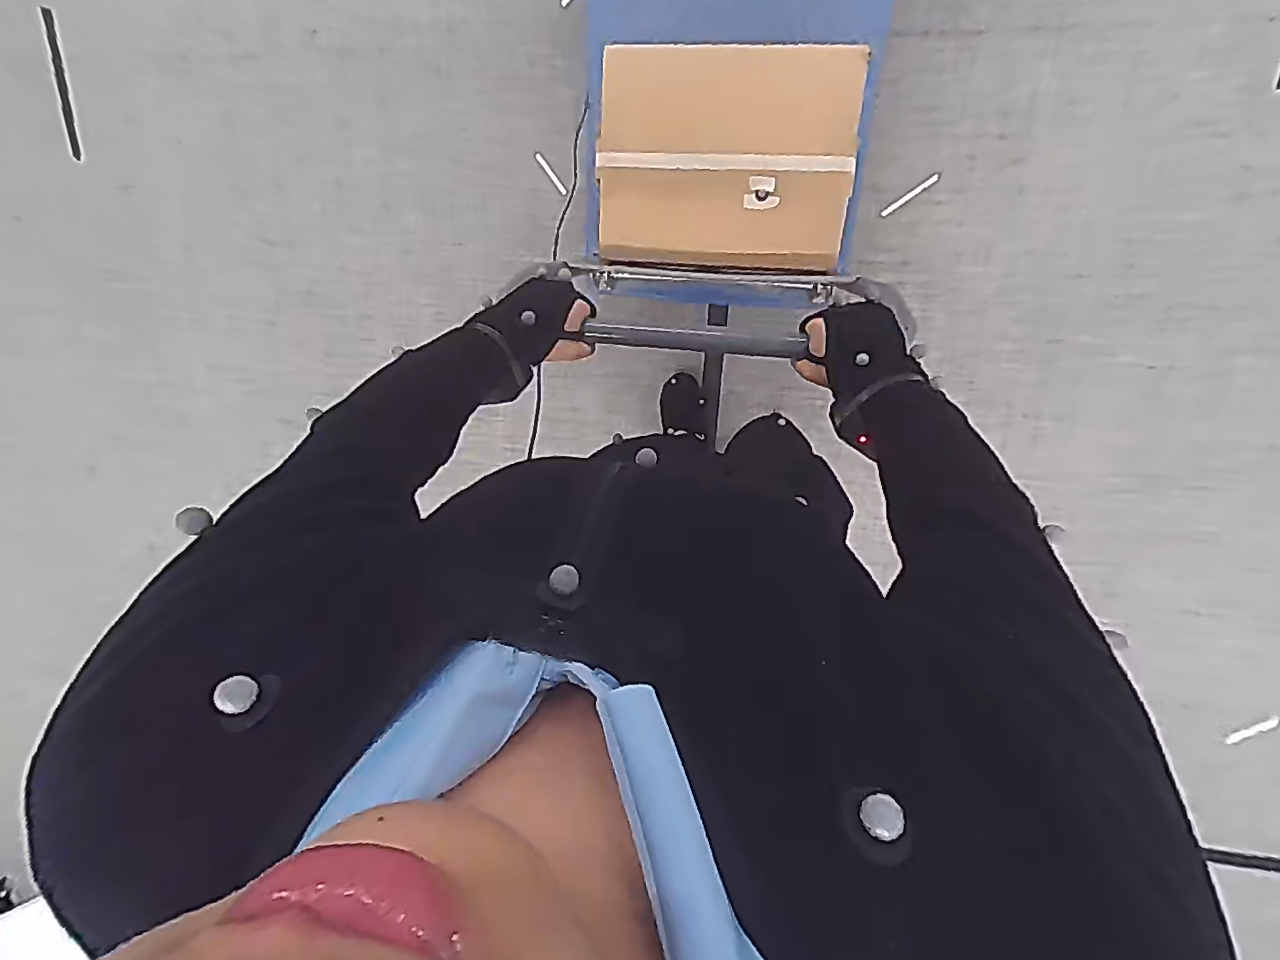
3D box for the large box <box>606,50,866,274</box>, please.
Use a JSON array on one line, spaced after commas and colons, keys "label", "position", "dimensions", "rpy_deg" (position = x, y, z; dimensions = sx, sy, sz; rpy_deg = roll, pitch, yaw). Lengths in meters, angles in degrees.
[{"label": "large box", "position": [0.159, -0.564, 1.025], "dimensions": [0.408, 0.320, 0.320], "rpy_deg": [5, 110, 6]}]
